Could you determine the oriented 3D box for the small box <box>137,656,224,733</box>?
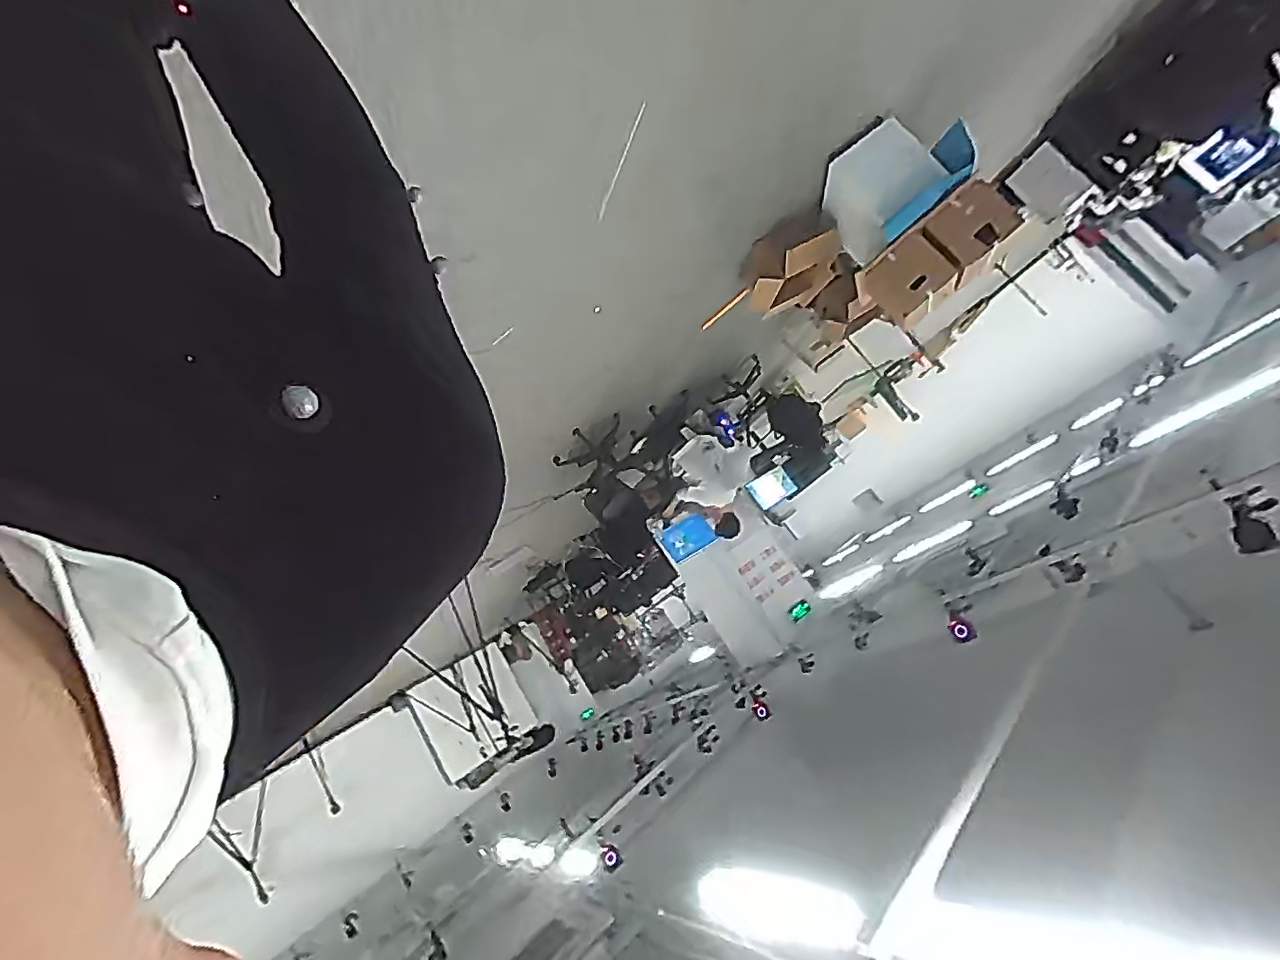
[{"bbox_3d":[-1.531,0.713,1.809,0.168,0.176,0.179,-25,163,-37],"label":"small box"}]
